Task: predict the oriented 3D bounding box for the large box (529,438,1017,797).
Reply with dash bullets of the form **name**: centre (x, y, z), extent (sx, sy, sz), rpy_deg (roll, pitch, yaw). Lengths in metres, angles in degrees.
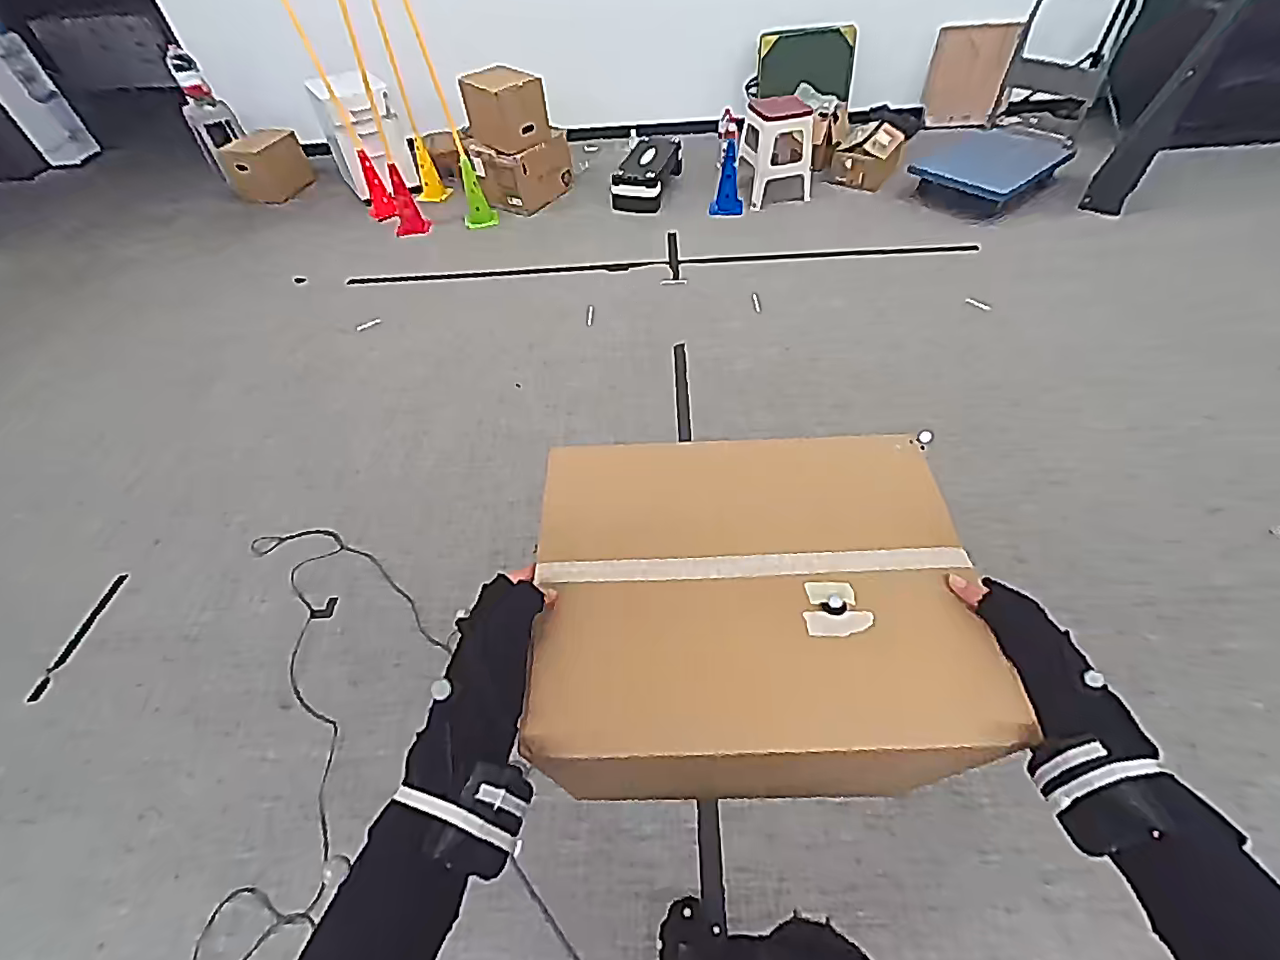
- **large box**: centre (0.106, 0.173, 0.641), extent (0.408, 0.320, 0.320), rpy_deg (-2, 54, 1)
